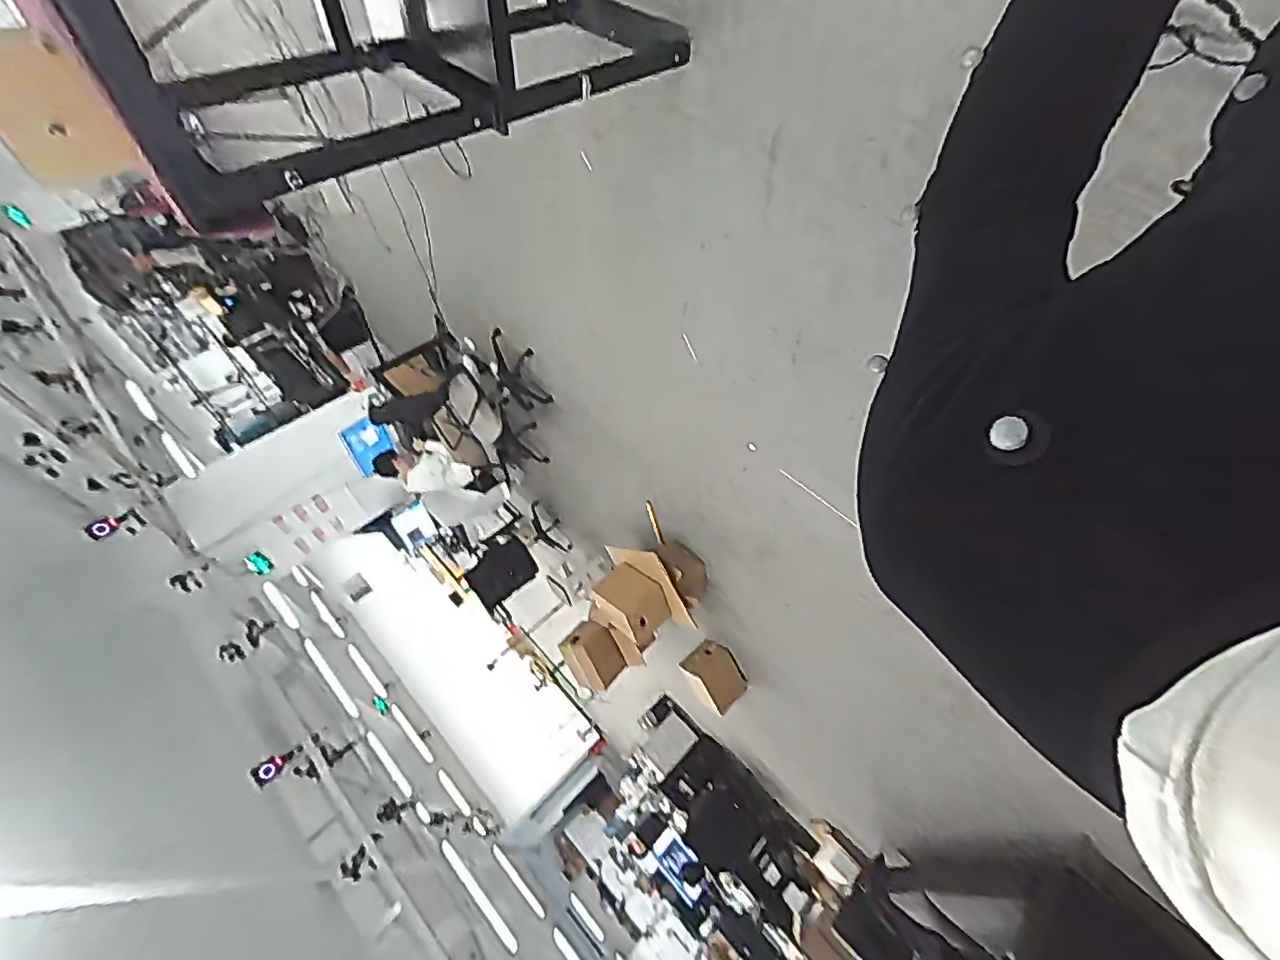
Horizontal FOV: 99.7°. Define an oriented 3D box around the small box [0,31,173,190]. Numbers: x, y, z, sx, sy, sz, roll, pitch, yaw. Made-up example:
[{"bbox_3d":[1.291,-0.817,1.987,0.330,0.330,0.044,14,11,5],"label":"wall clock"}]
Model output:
[{"bbox_3d":[-0.992,-0.657,0.955,0.168,0.176,0.179,41,153,24],"label":"small box"}]
